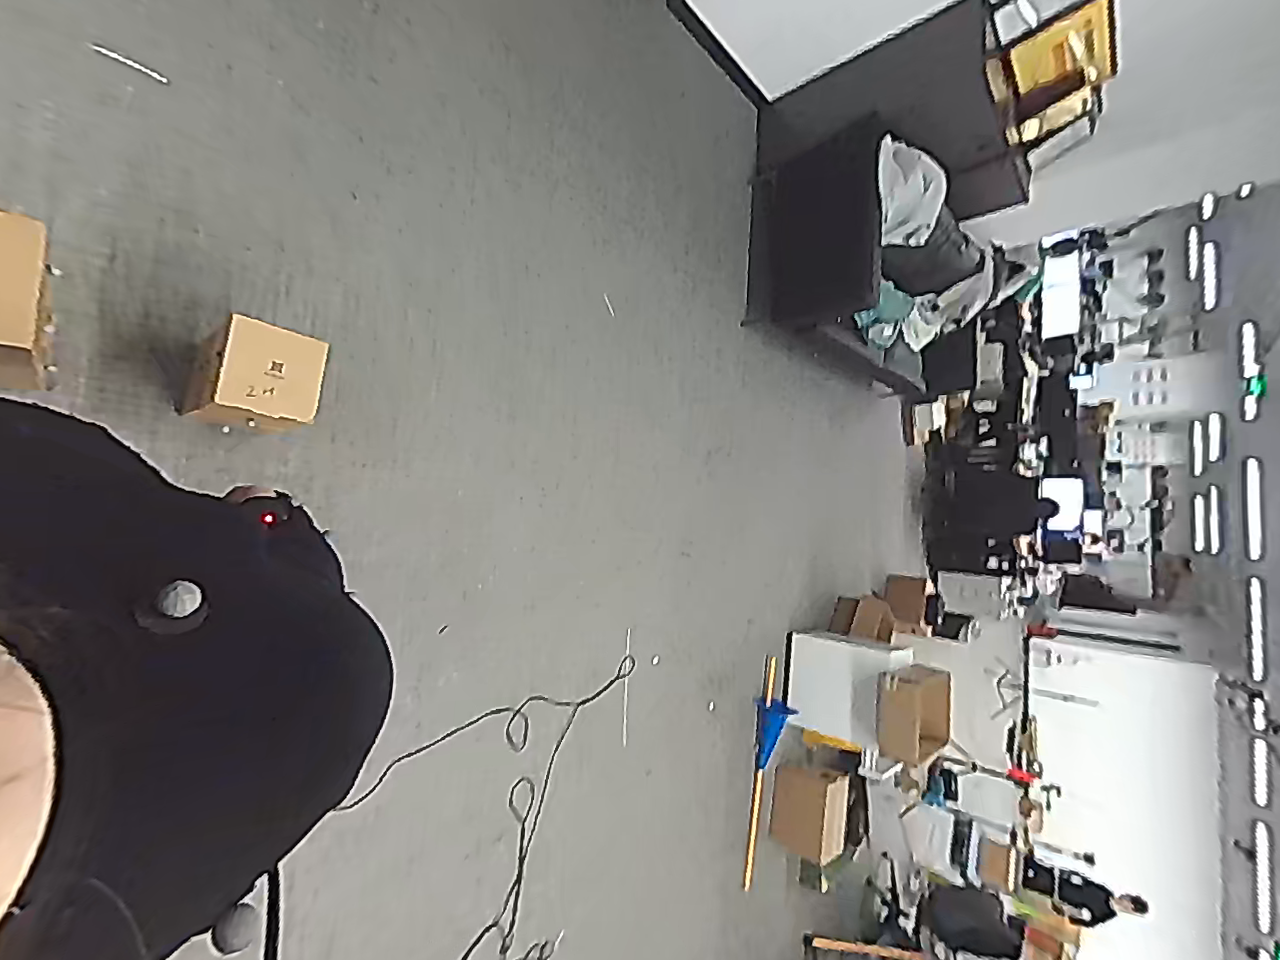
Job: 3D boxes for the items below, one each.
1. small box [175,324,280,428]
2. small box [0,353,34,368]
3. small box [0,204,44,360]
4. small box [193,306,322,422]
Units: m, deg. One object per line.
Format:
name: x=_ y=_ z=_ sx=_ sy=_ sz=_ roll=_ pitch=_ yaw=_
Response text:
small box: x=-0.903 y=-0.222 z=1.205 sx=0.168 sy=0.176 sz=0.179 roll=17 pitch=78 yaw=-47
small box: x=-1.031 y=-0.274 z=0.812 sx=0.168 sy=0.176 sz=0.179 roll=4 pitch=88 yaw=-48
small box: x=-0.908 y=-0.269 z=0.705 sx=0.168 sy=0.176 sz=0.179 roll=5 pitch=87 yaw=-47
small box: x=-0.778 y=-0.224 z=1.098 sx=0.168 sy=0.176 sz=0.179 roll=14 pitch=80 yaw=-47
